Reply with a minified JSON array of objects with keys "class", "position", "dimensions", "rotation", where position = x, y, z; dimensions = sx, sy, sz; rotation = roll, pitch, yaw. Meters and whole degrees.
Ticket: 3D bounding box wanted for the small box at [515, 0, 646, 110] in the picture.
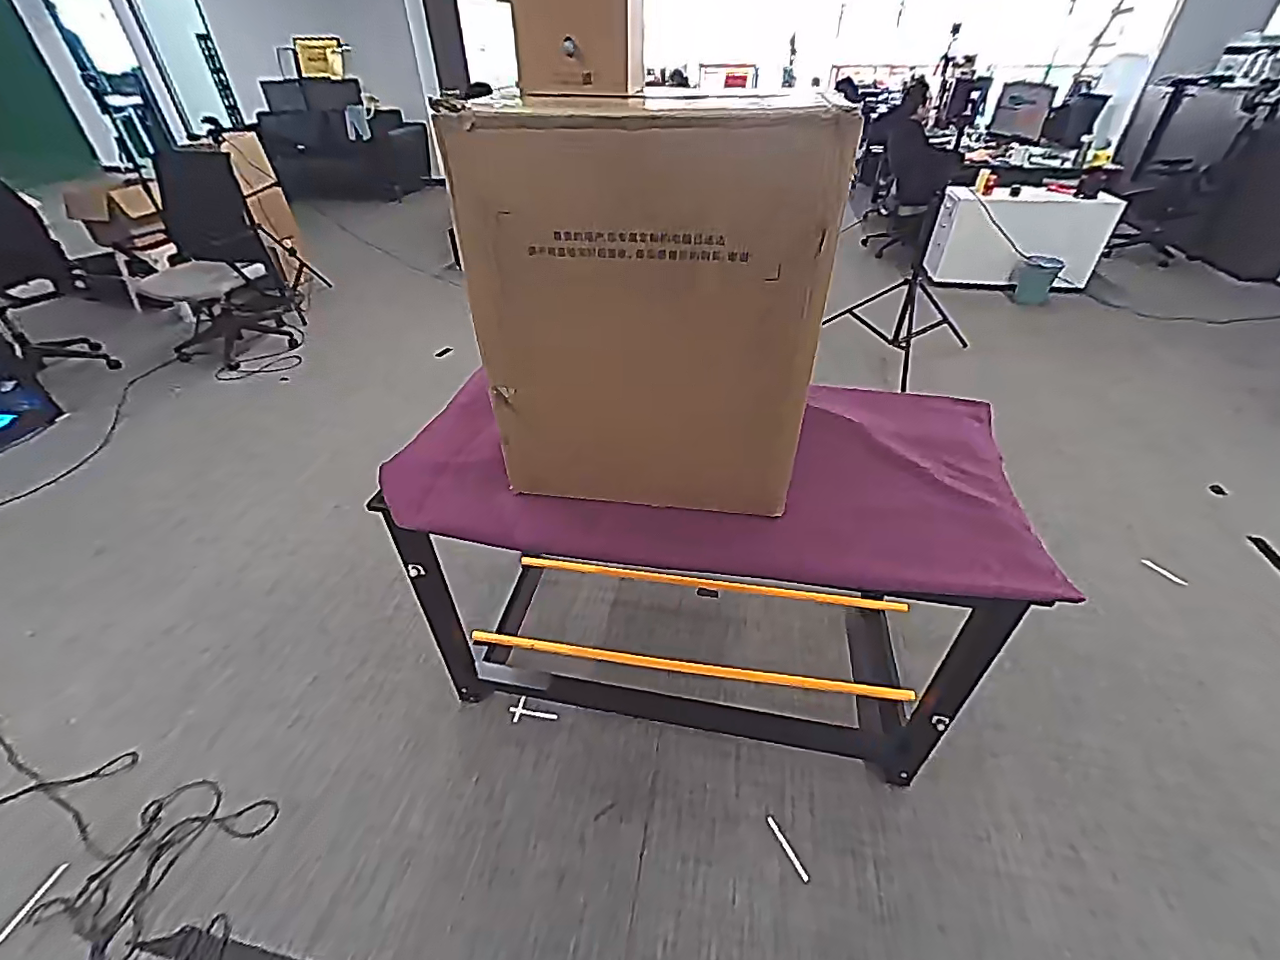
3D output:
[{"class":"small box","position":[-0.085,-0.673,0.821],"dimensions":[0.168,0.176,0.179],"rotation":[5,39,7]}]
